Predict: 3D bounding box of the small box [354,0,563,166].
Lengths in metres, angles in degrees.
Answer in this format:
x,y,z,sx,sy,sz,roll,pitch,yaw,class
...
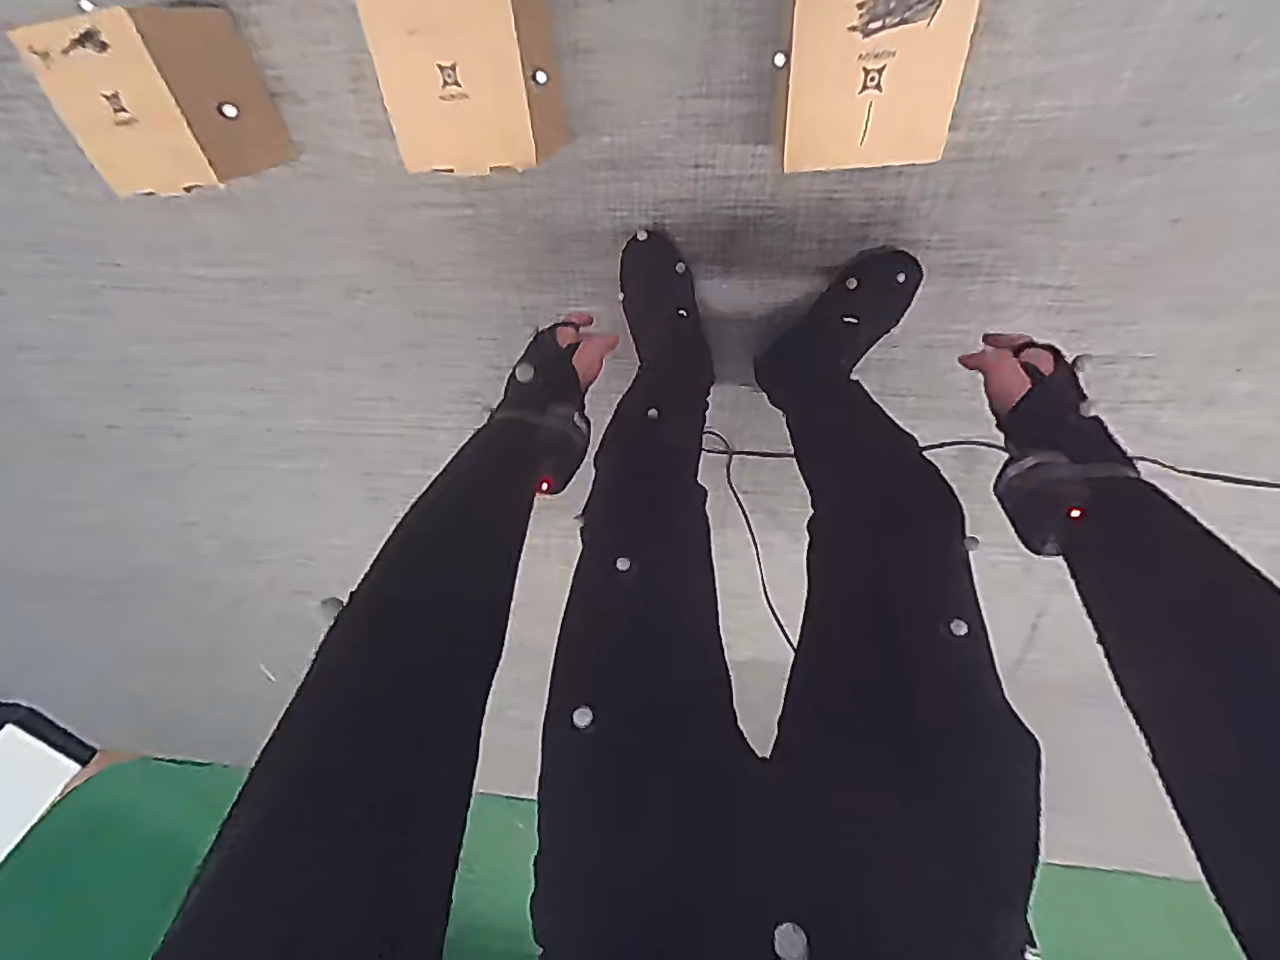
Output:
x,y,z,sx,sy,sz,roll,pitch,yaw,class
-0.196,-0.492,0.640,0.168,0.176,0.179,0,130,7,small box

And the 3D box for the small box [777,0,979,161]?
x,y,z,sx,sy,sz,roll,pitch,yaw,class
0.240,-0.465,0.584,0.168,0.176,0.179,1,132,10,small box

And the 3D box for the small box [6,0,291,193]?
x,y,z,sx,sy,sz,roll,pitch,yaw,class
-0.608,-0.497,0.702,0.168,0.176,0.179,-1,131,11,small box
